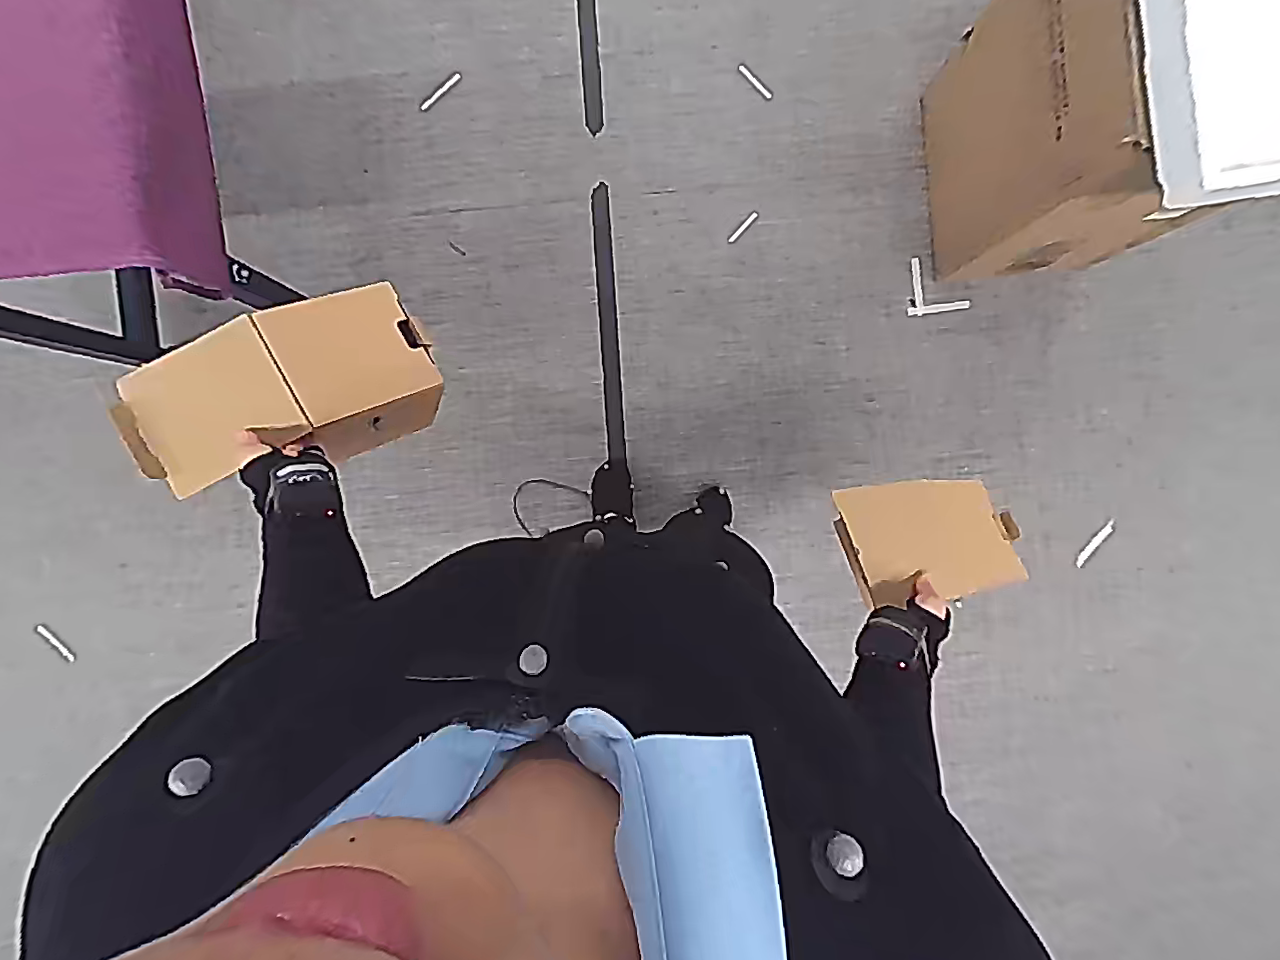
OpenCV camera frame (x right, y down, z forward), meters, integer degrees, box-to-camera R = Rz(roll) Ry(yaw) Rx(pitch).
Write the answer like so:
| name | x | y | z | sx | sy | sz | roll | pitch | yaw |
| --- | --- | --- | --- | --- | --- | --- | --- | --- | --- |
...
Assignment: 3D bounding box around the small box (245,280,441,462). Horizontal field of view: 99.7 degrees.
| name | x | y | z | sx | sy | sz | roll | pitch | yaw |
| --- | --- | --- | --- | --- | --- | --- | --- | --- | --- |
| small box | -0.404 | -0.144 | 0.755 | 0.179 | 0.176 | 0.168 | -29 | 90 | -31 |
